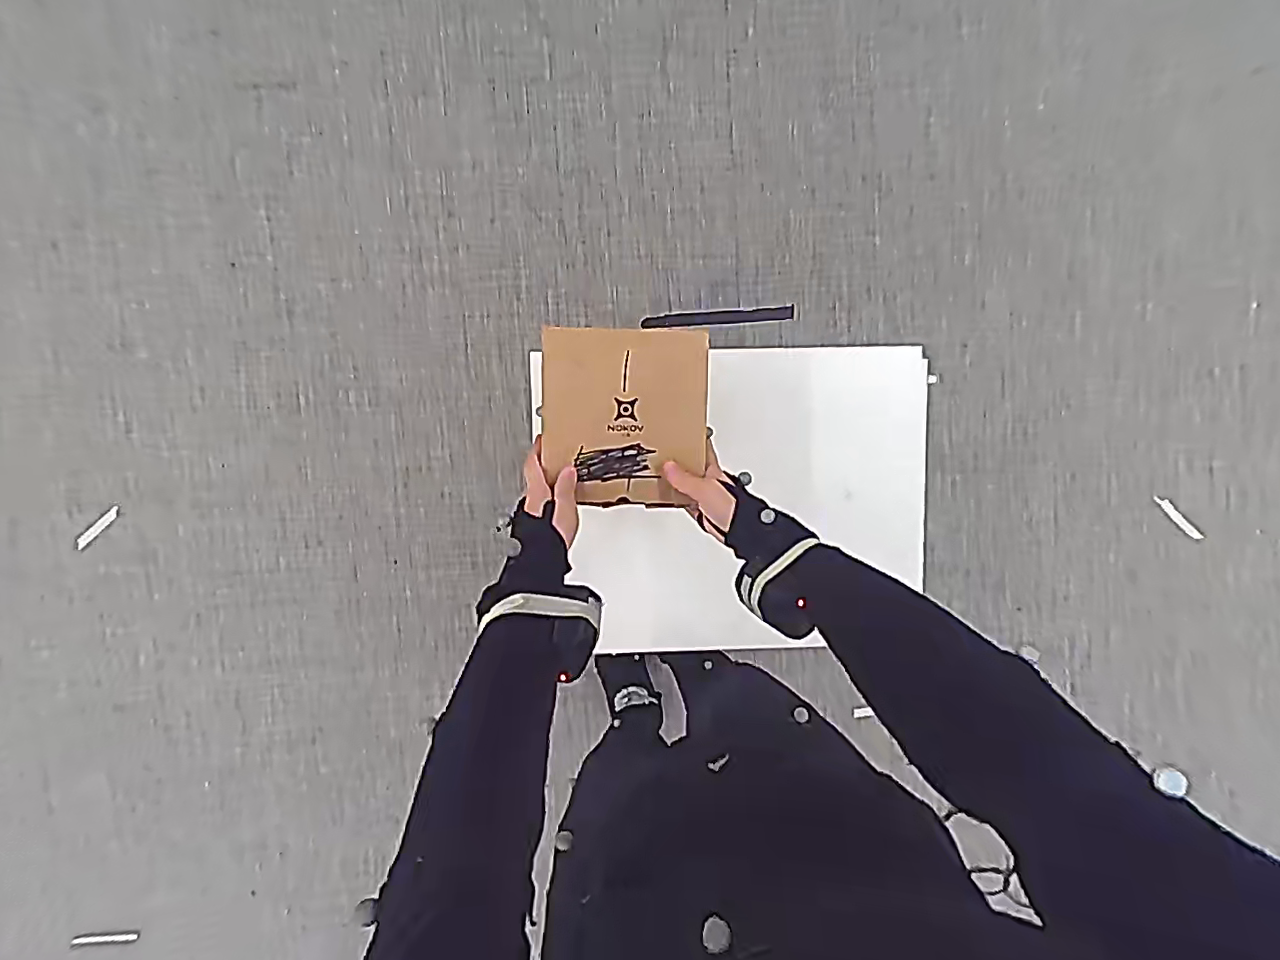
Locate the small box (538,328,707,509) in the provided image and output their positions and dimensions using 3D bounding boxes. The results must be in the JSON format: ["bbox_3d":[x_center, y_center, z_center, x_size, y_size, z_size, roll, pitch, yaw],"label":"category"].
[{"bbox_3d":[-0.020,-0.065,0.610,0.168,0.176,0.179,1,94,-2],"label":"small box"}]
